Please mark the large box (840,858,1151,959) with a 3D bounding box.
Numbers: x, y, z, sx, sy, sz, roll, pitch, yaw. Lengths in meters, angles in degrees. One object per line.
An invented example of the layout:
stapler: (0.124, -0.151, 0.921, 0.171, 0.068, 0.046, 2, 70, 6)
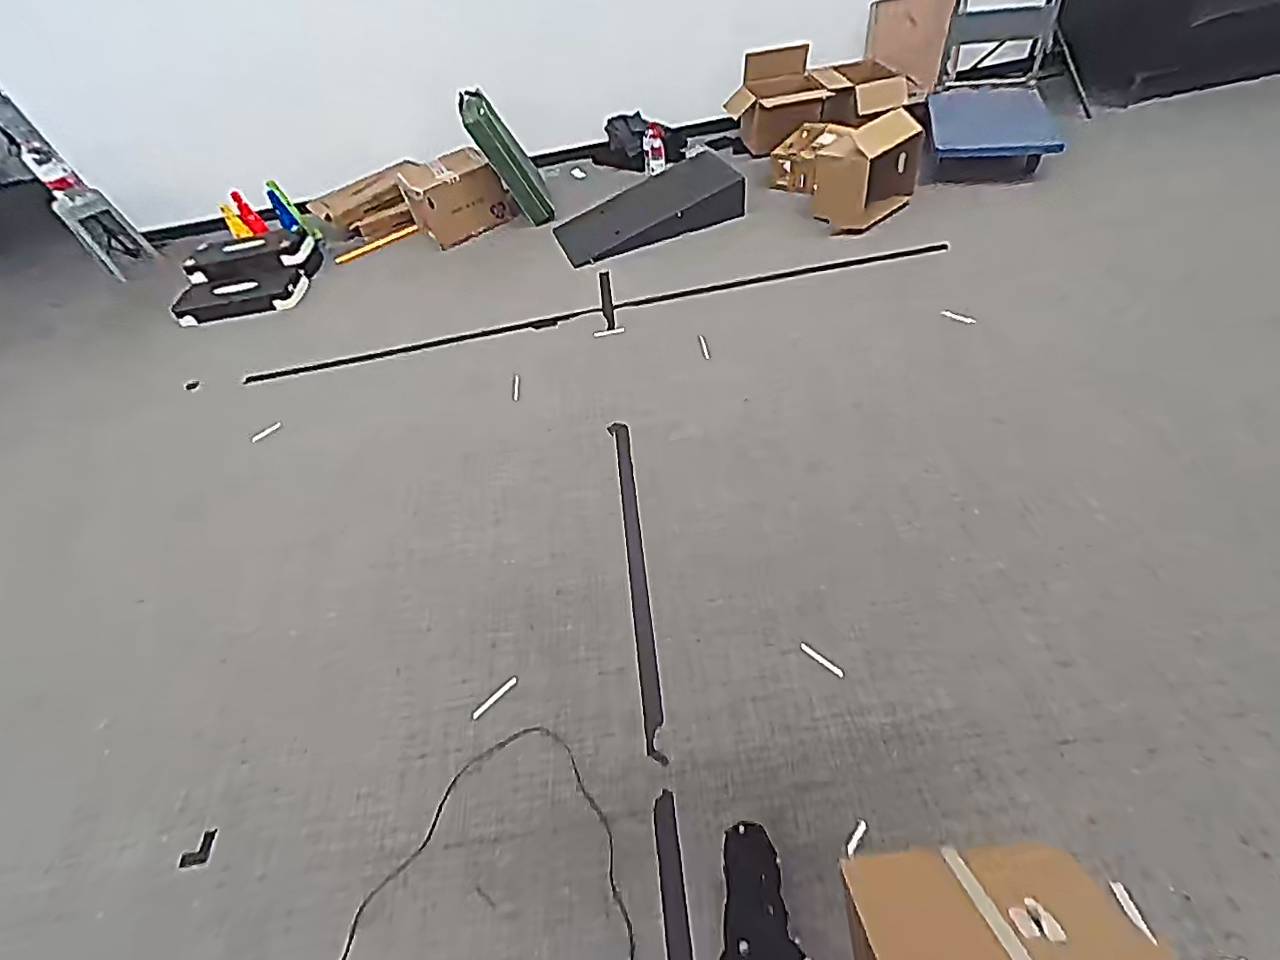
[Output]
large box: (0.456, 0.719, 0.604, 0.320, 0.408, 0.320, -6, 88, 5)
